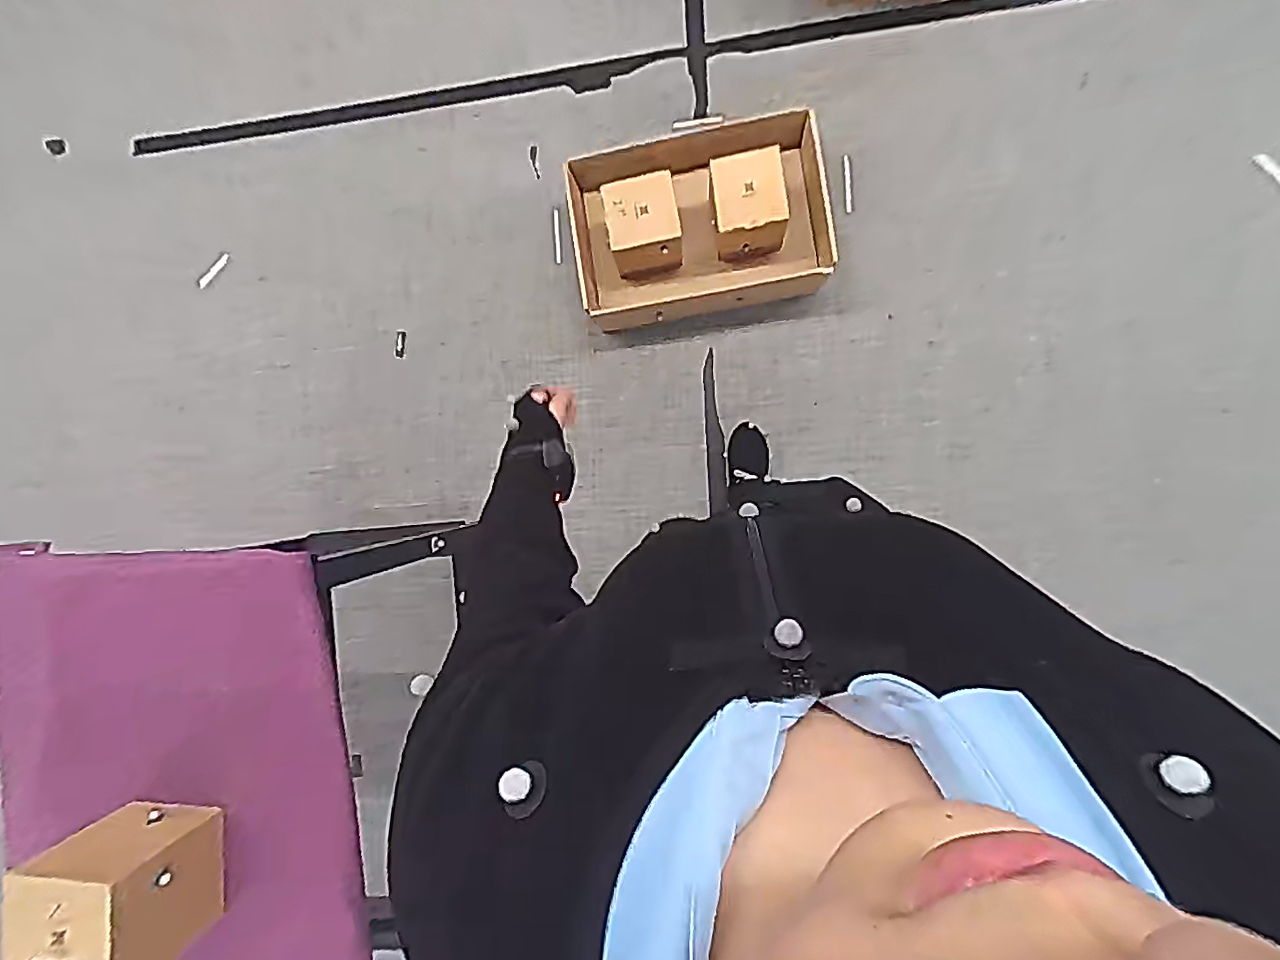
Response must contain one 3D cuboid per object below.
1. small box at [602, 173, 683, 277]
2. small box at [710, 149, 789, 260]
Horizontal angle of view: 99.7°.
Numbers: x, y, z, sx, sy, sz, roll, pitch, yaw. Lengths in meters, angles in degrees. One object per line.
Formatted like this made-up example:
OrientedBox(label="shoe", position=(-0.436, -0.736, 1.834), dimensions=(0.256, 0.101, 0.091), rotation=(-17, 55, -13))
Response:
OrientedBox(label="small box", position=(0.011, -0.639, 1.375), dimensions=(0.179, 0.176, 0.168), rotation=(-10, 88, 6))
OrientedBox(label="small box", position=(0.266, -0.677, 1.347), dimensions=(0.168, 0.176, 0.179), rotation=(-8, 89, 7))
